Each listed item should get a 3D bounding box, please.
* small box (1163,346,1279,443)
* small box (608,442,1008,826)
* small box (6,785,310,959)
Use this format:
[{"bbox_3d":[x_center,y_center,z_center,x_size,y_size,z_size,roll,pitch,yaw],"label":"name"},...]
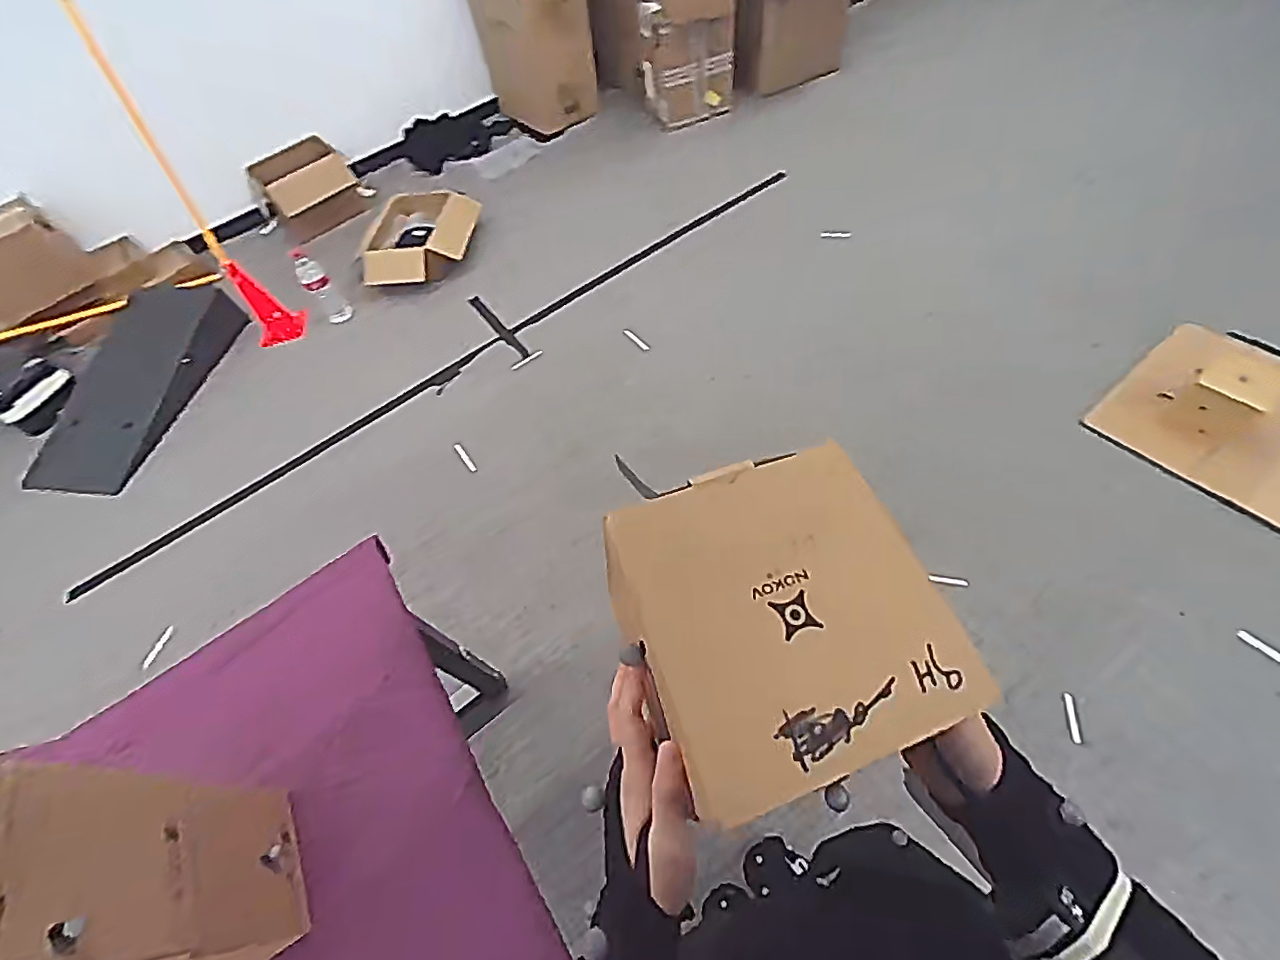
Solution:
[{"bbox_3d":[1.658,-0.238,1.539,0.179,0.176,0.168,-39,60,-15],"label":"small box"},{"bbox_3d":[0.082,0.107,0.369,0.168,0.176,0.179,-18,62,-10],"label":"small box"},{"bbox_3d":[-0.499,0.459,0.577,0.179,0.176,0.168,-30,59,-10],"label":"small box"}]
